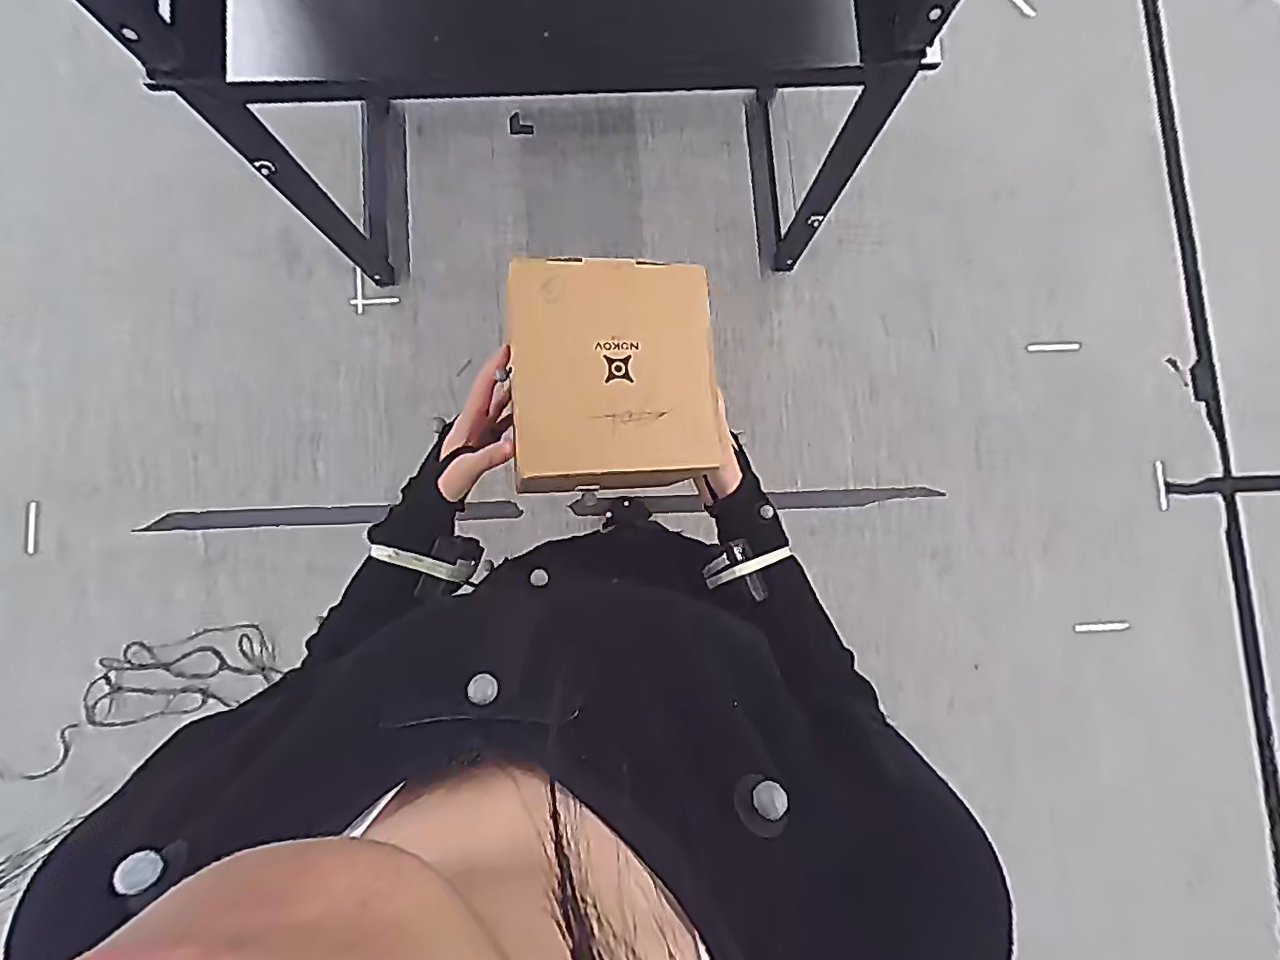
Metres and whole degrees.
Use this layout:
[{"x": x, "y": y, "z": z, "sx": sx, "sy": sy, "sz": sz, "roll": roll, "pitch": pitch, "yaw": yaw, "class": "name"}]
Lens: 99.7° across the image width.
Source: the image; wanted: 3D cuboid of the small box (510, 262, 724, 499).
[{"x": -0.035, "y": -0.080, "z": 0.509, "sx": 0.168, "sy": 0.176, "sz": 0.179, "roll": -4, "pitch": 85, "yaw": -13, "class": "small box"}]
